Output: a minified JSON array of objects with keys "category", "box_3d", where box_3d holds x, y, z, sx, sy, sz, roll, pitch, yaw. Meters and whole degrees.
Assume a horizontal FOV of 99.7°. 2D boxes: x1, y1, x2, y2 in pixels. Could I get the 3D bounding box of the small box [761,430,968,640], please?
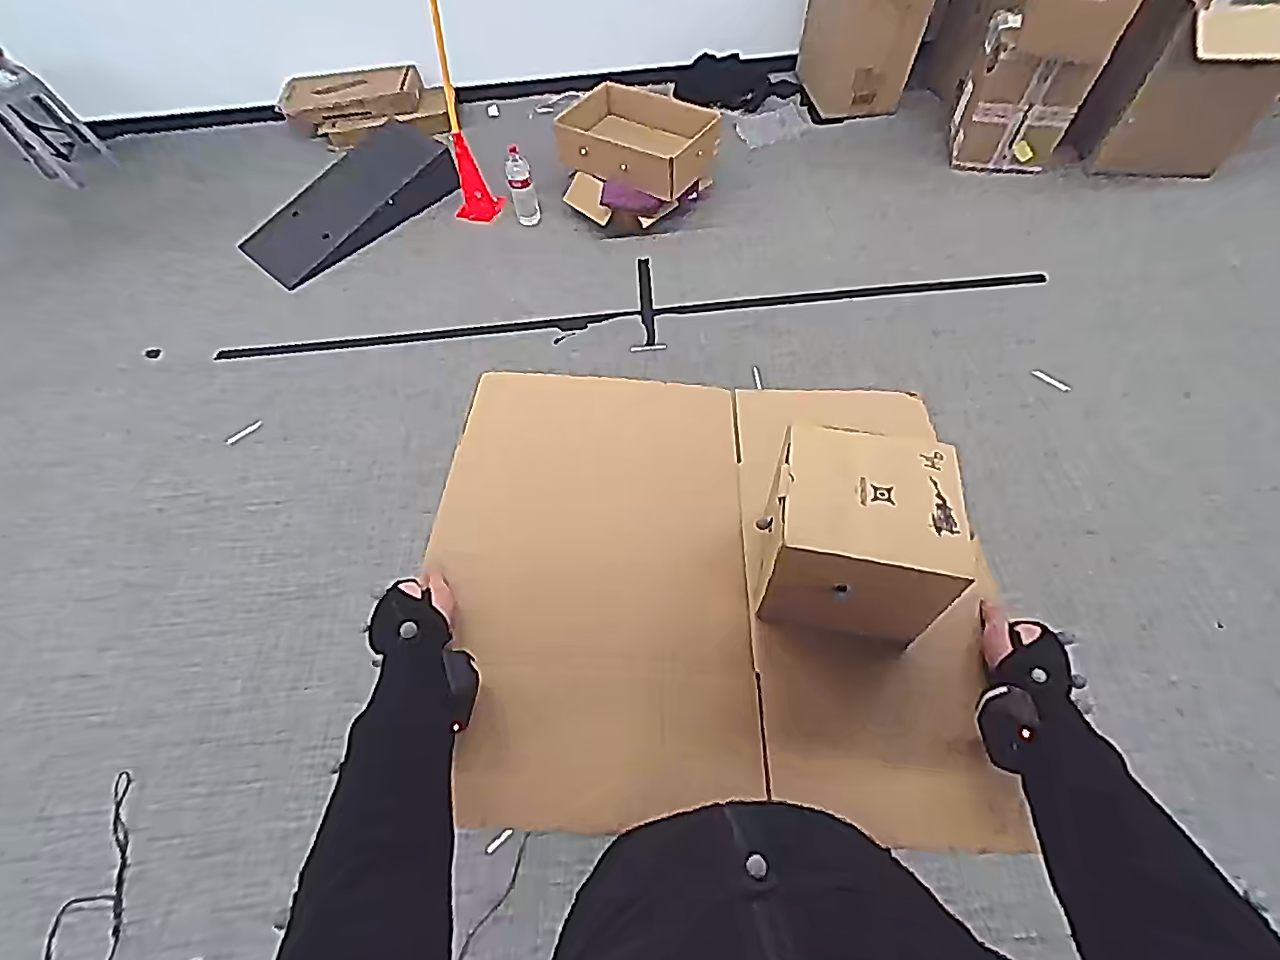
[{"category":"small box","box_3d":[0.238,0.066,0.618,0.179,0.176,0.168,8,54,10]}]
